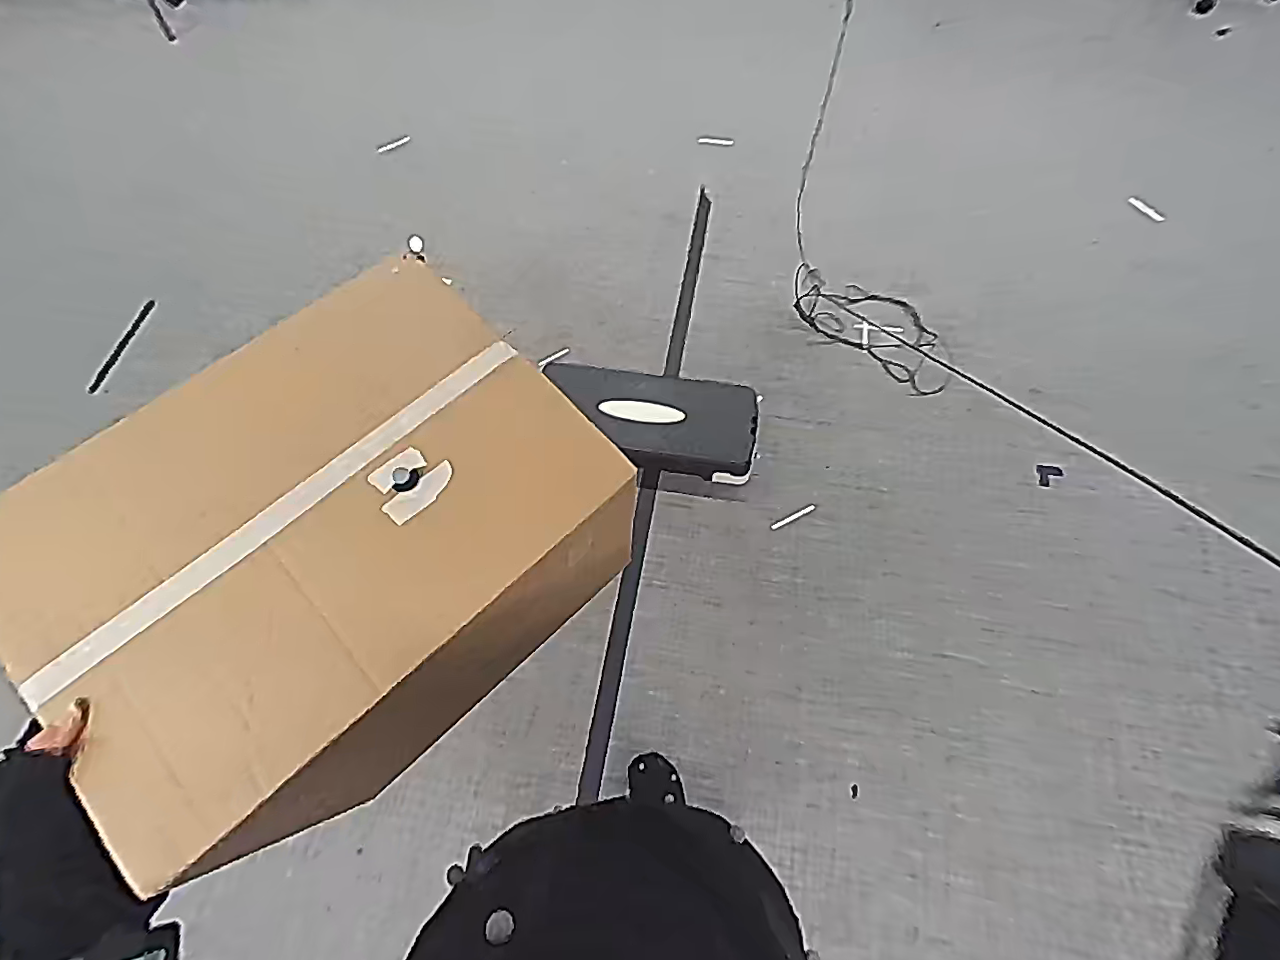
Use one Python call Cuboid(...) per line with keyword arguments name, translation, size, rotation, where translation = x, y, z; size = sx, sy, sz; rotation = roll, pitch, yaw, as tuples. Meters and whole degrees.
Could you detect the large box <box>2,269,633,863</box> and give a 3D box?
Cuboid(name="large box", translation=(-0.253, 0.076, 0.569), size=(0.408, 0.320, 0.320), rotation=(-41, 75, -17))
